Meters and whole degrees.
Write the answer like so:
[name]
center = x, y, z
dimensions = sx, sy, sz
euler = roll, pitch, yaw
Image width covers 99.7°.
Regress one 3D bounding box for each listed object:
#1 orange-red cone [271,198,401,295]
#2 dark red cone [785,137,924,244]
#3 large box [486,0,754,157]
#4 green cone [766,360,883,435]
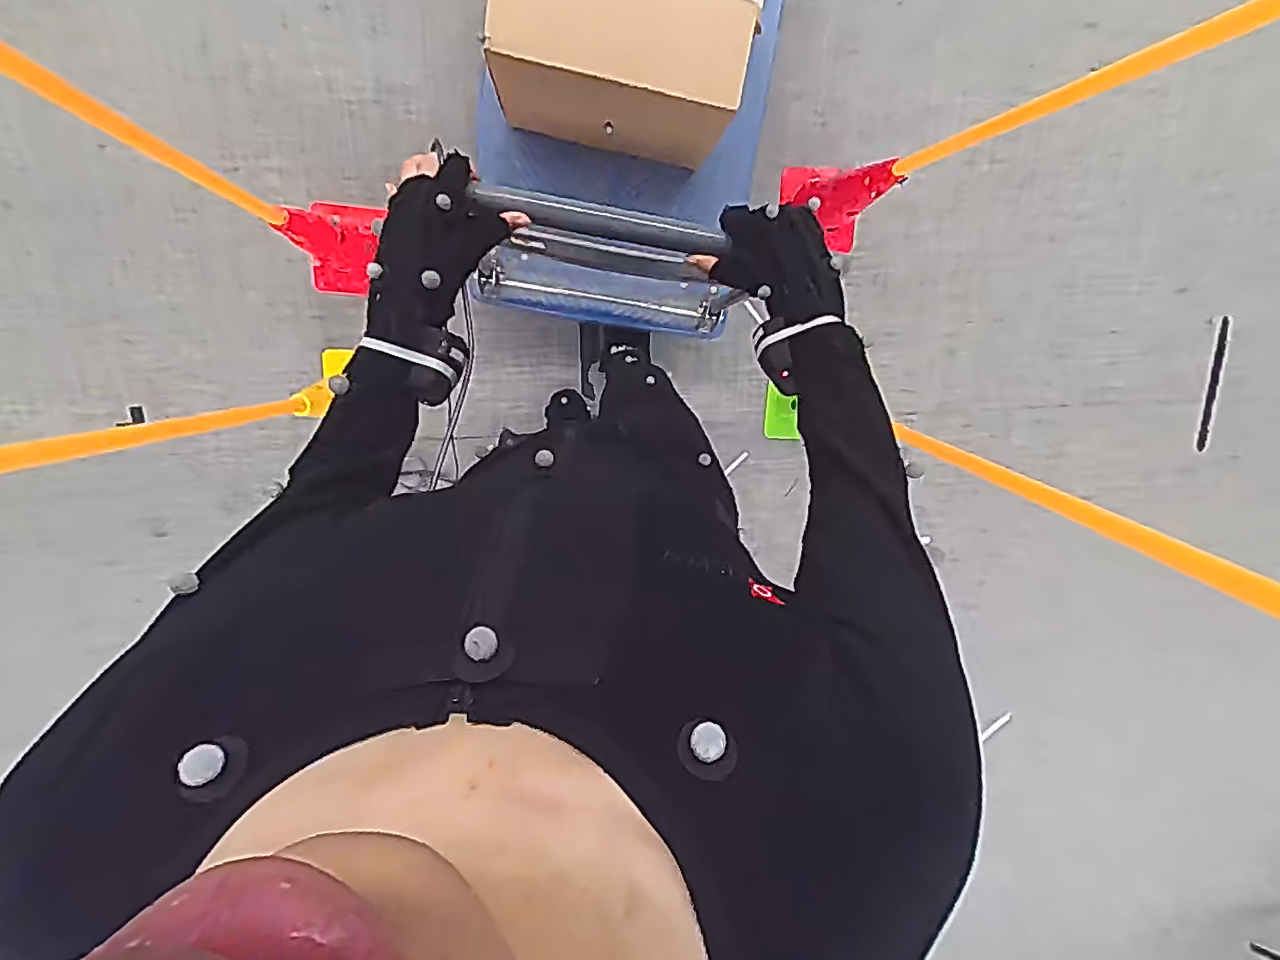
[orange-red cone]
center = -0.647, -0.511, 1.110
dimensions = 0.198, 0.360, 0.199
euler = 4, 102, -8
[dark red cone]
center = 0.476, -0.650, 1.177
dimensions = 0.201, 0.394, 0.202
euler = -3, 105, -7
[large box]
center = -0.029, -0.812, 0.950
dimensions = 0.408, 0.320, 0.320
euler = 8, 103, -8
[green cone]
center = 0.467, -0.183, 1.311
dimensions = 0.202, 0.368, 0.200
euler = 0, 104, -8
